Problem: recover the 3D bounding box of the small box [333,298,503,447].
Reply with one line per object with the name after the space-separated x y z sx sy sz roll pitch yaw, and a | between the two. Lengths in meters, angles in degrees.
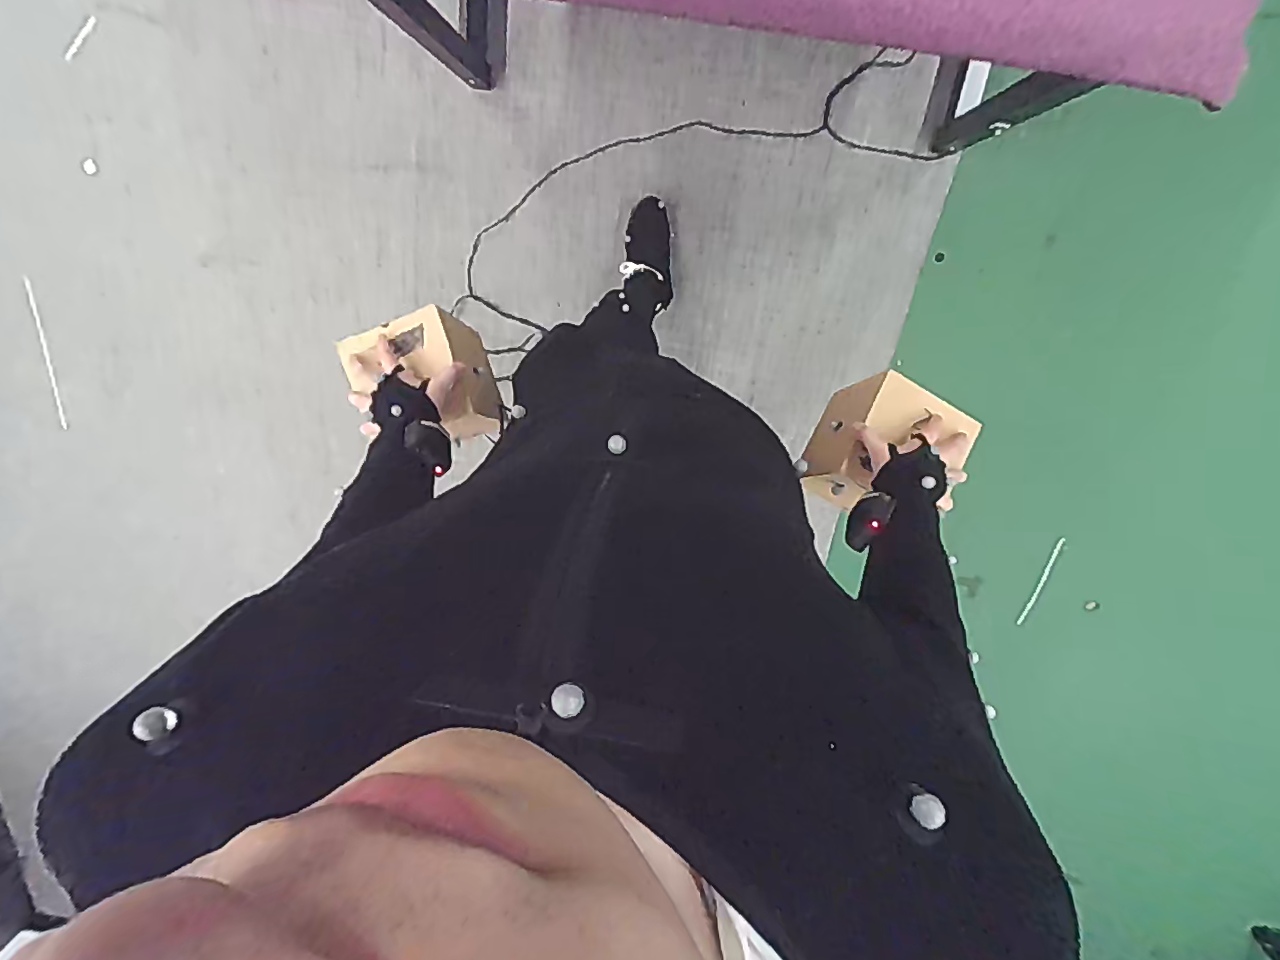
-0.346 -0.162 0.874 0.168 0.176 0.179 -20 90 5 | small box
